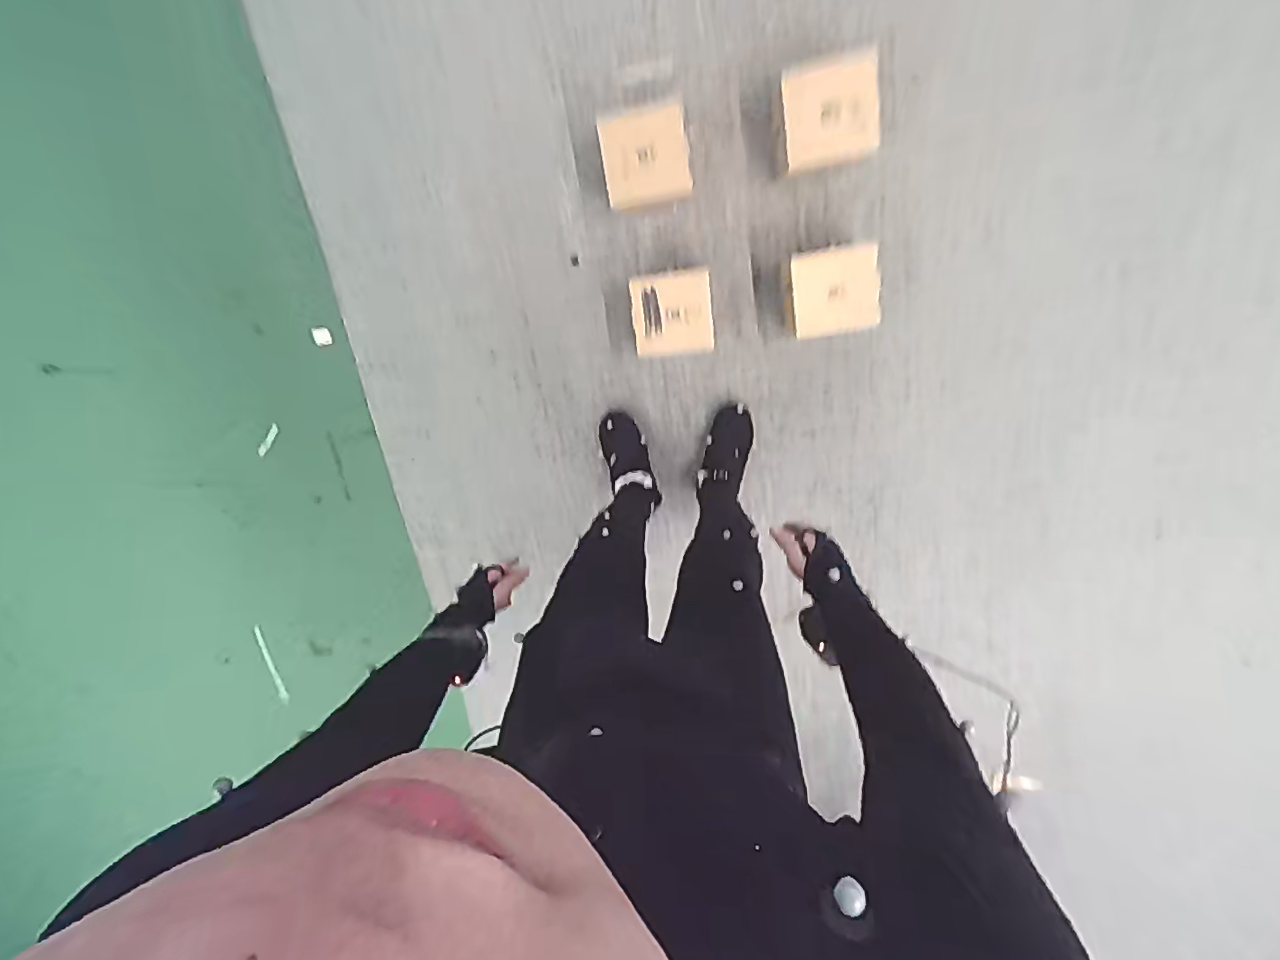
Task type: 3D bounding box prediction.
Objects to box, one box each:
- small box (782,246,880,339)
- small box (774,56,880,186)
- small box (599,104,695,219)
[{"bbox_3d":[0.417,-0.413,1.205,0.179,0.176,0.168,-8,107,8],"label":"small box"},{"bbox_3d":[0.373,-0.718,1.103,0.179,0.176,0.168,-7,108,8],"label":"small box"},{"bbox_3d":[0.022,-0.673,1.160,0.179,0.176,0.168,-6,107,9],"label":"small box"}]
